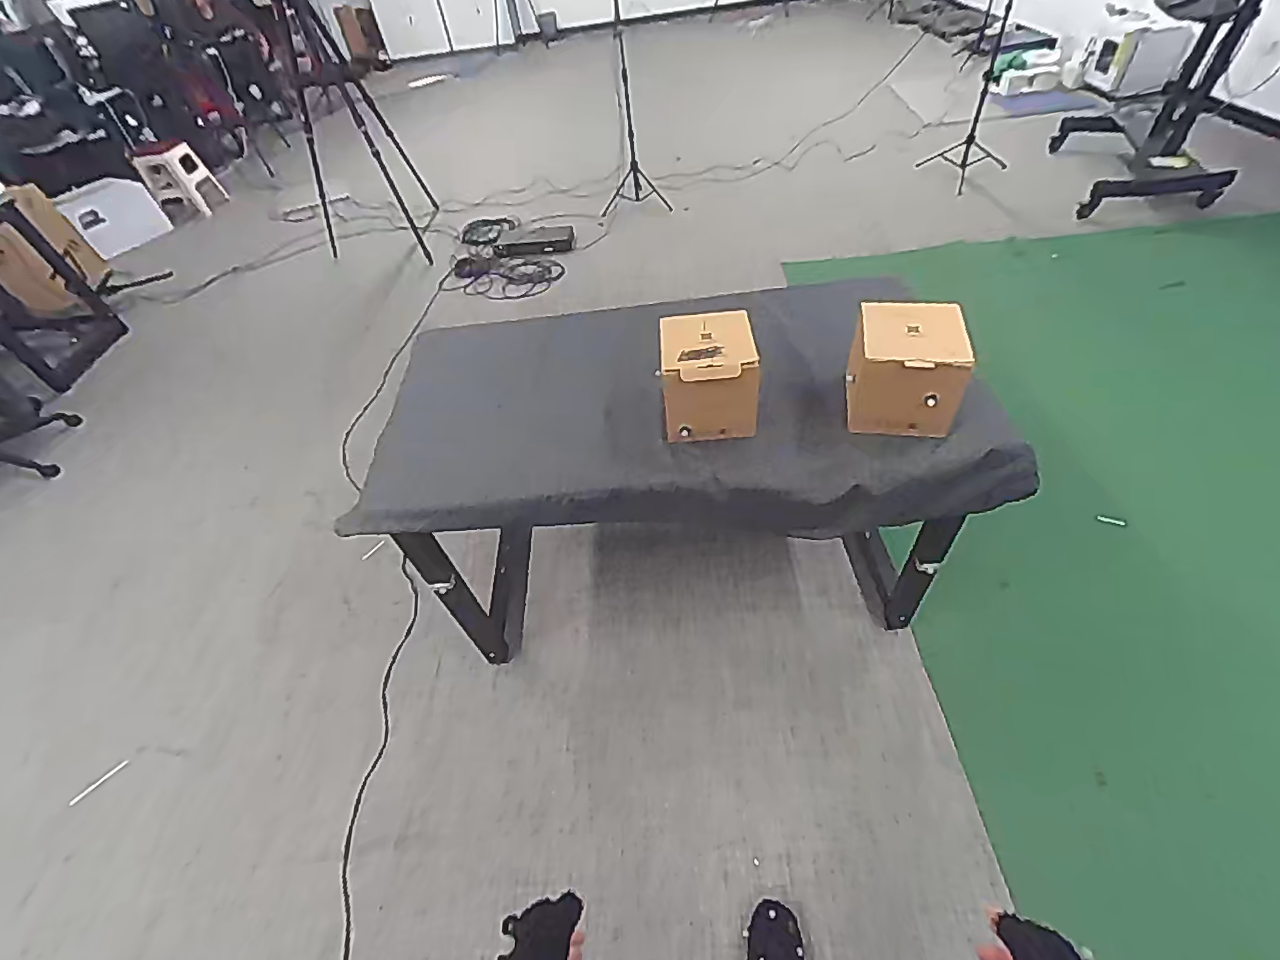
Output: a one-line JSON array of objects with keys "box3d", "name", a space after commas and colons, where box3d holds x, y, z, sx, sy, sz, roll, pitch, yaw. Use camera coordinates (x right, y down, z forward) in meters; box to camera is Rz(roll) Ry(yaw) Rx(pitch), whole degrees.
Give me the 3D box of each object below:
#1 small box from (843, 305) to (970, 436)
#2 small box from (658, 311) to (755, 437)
[{"box3d": [0.469, -0.198, 0.981, 0.168, 0.176, 0.179, 5, 48, 12], "name": "small box"}, {"box3d": [0.125, -0.194, 1.027, 0.168, 0.176, 0.179, -4, 47, 4], "name": "small box"}]
